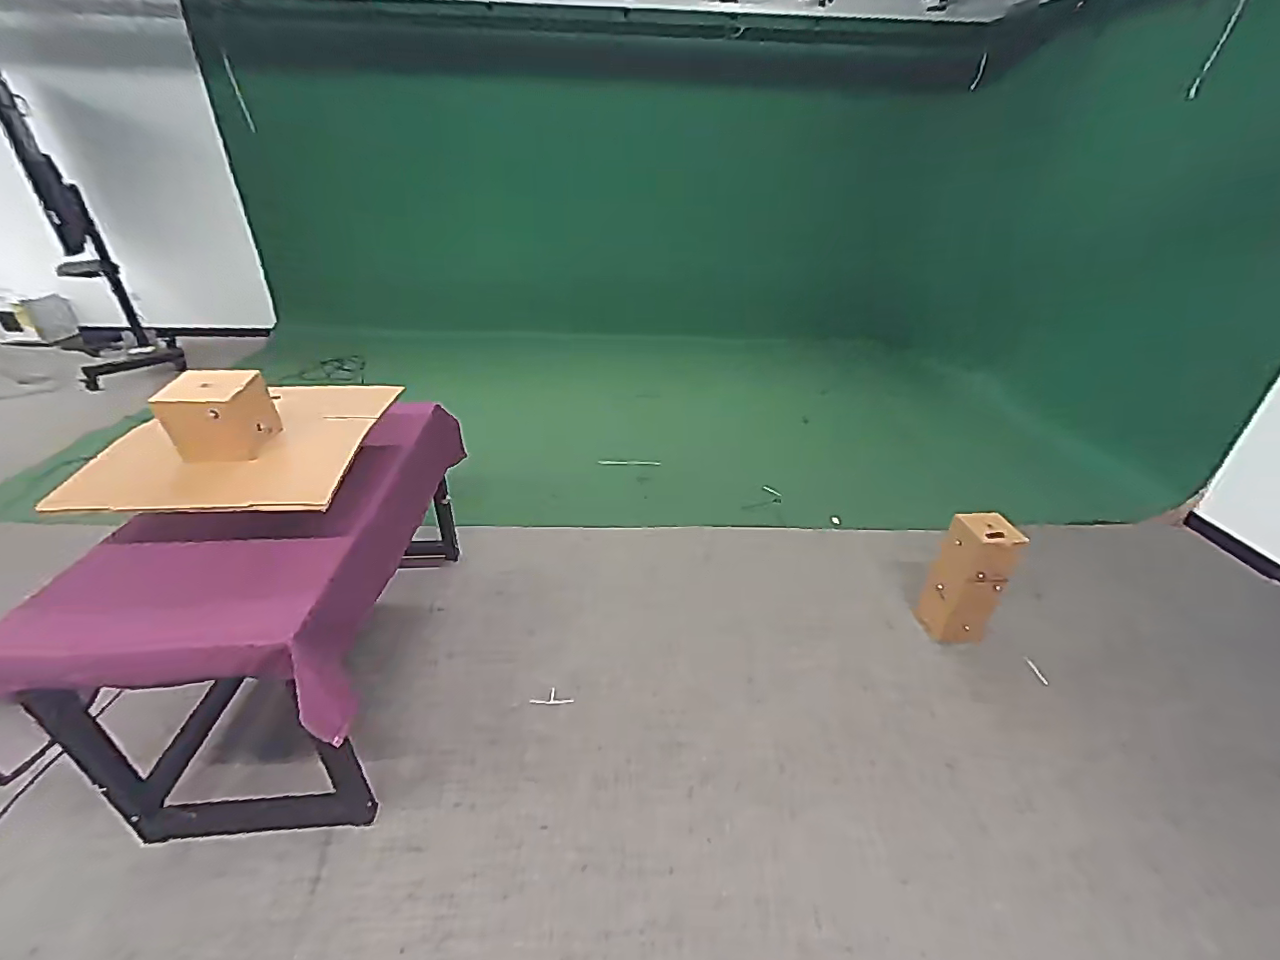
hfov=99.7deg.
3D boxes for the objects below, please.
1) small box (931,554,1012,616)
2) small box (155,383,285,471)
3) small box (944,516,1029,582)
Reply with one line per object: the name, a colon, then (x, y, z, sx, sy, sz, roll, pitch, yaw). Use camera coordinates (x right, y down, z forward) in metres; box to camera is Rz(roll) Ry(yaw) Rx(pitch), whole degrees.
small box: (1.219, 0.386, 2.003, 0.179, 0.176, 0.168, -3, 30, -5)
small box: (-1.048, -0.133, 1.368, 0.179, 0.176, 0.168, -1, 36, -6)
small box: (1.217, 0.247, 1.913, 0.168, 0.176, 0.179, -1, 30, -3)
